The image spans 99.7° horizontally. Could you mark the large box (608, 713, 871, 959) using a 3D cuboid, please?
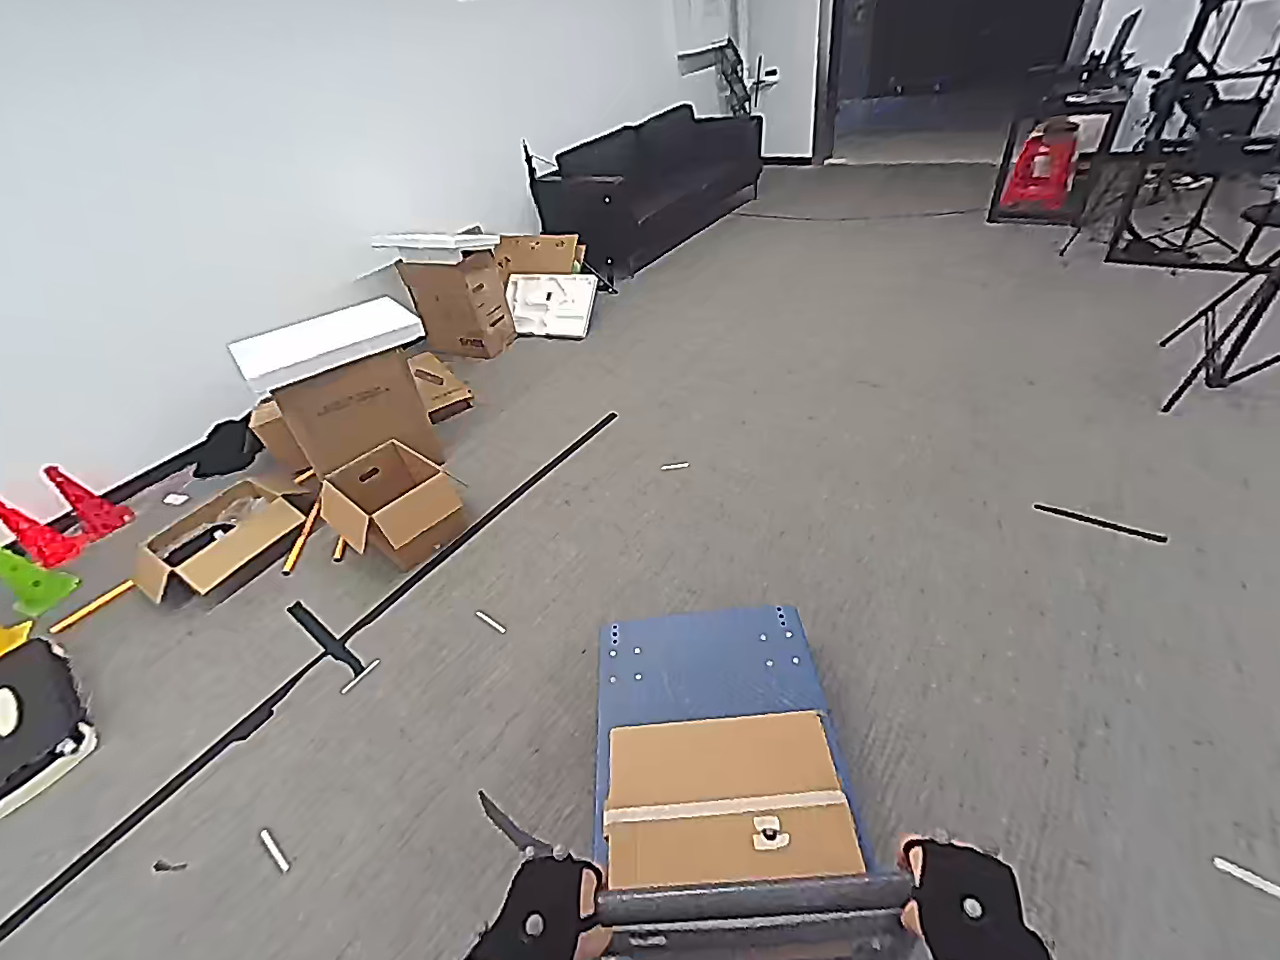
[{"bbox_3d":[0.158,0.680,1.019,0.408,0.320,0.320,-6,40,2],"label":"large box"}]
